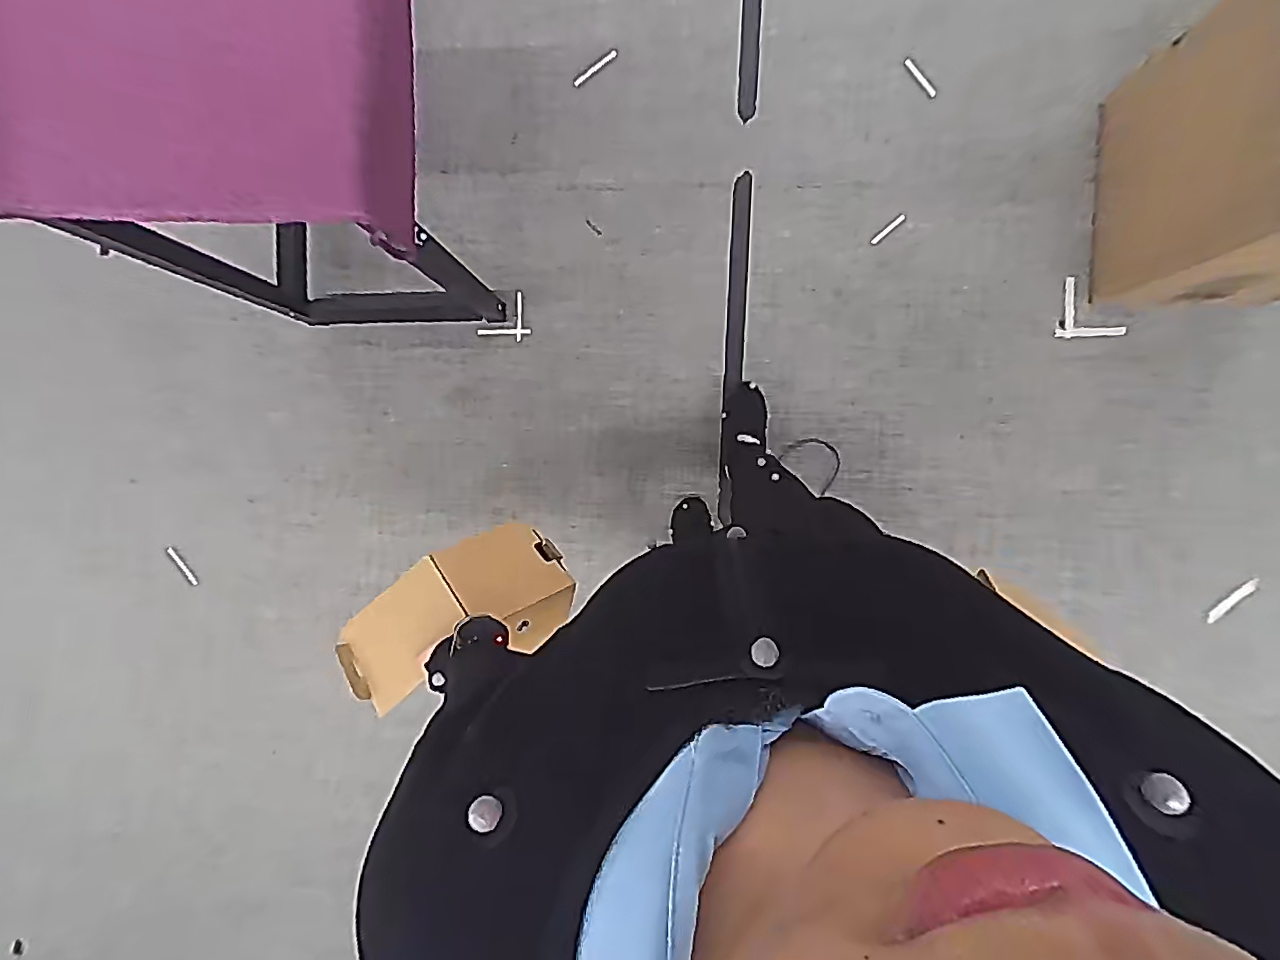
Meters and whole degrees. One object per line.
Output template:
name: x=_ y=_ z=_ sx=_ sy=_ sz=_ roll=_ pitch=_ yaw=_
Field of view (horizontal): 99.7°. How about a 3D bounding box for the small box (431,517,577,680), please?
small box: x=-0.230 y=0.197 z=0.902 sx=0.168 sy=0.179 sz=0.176 roll=47 pitch=138 yaw=29
